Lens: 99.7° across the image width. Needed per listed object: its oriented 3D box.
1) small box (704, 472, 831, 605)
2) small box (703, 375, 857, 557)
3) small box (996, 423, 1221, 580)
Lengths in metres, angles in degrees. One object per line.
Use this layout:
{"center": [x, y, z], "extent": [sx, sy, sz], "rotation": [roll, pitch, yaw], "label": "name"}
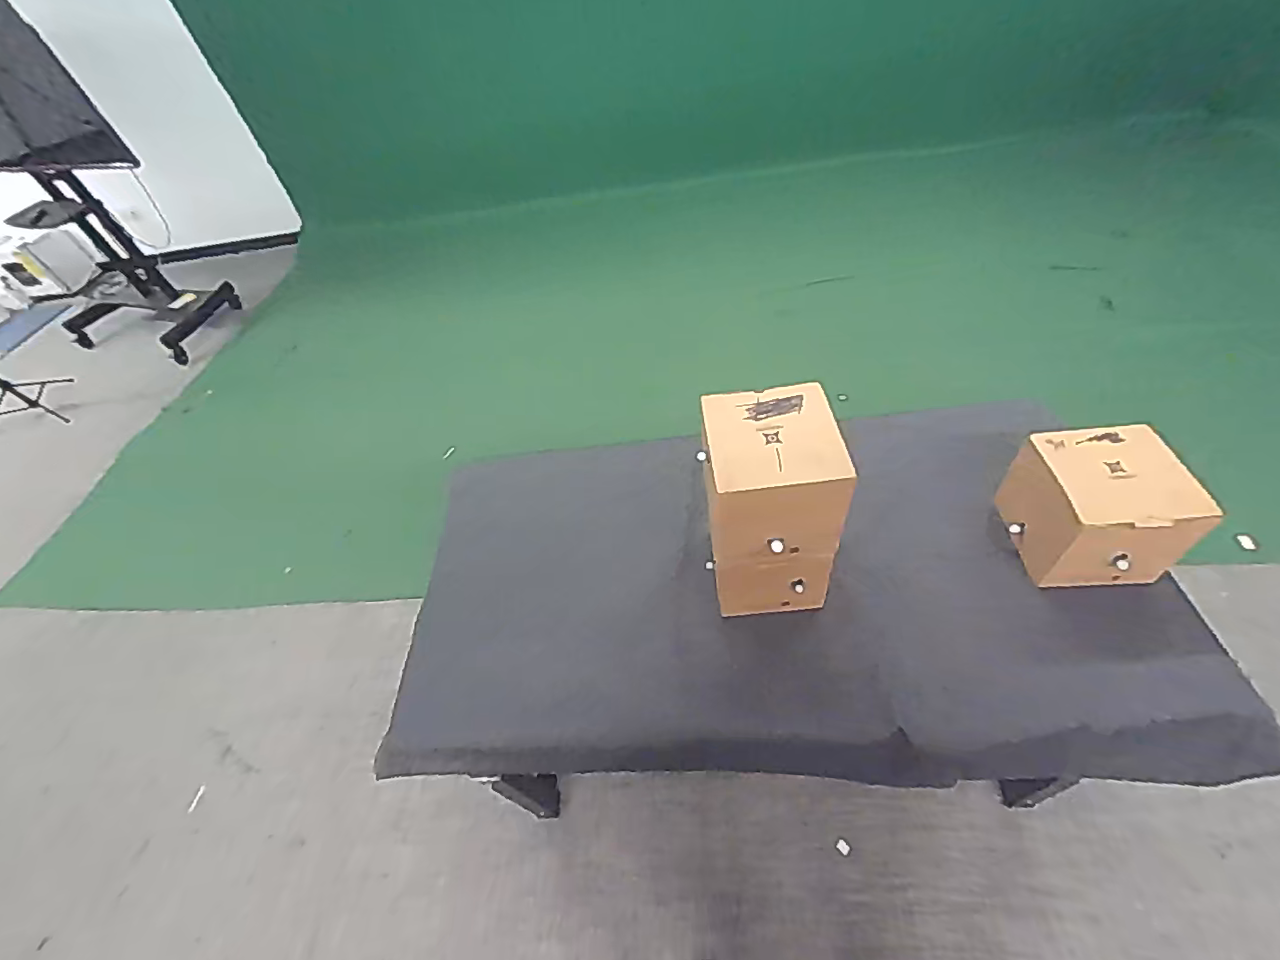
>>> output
{"center": [0.195, 0.088, 0.864], "extent": [0.168, 0.176, 0.179], "rotation": [-5, 48, 4], "label": "small box"}
{"center": [0.175, -0.017, 0.738], "extent": [0.168, 0.176, 0.179], "rotation": [-6, 50, 4], "label": "small box"}
{"center": [0.676, 0.040, 0.811], "extent": [0.168, 0.176, 0.179], "rotation": [-4, 50, 8], "label": "small box"}
